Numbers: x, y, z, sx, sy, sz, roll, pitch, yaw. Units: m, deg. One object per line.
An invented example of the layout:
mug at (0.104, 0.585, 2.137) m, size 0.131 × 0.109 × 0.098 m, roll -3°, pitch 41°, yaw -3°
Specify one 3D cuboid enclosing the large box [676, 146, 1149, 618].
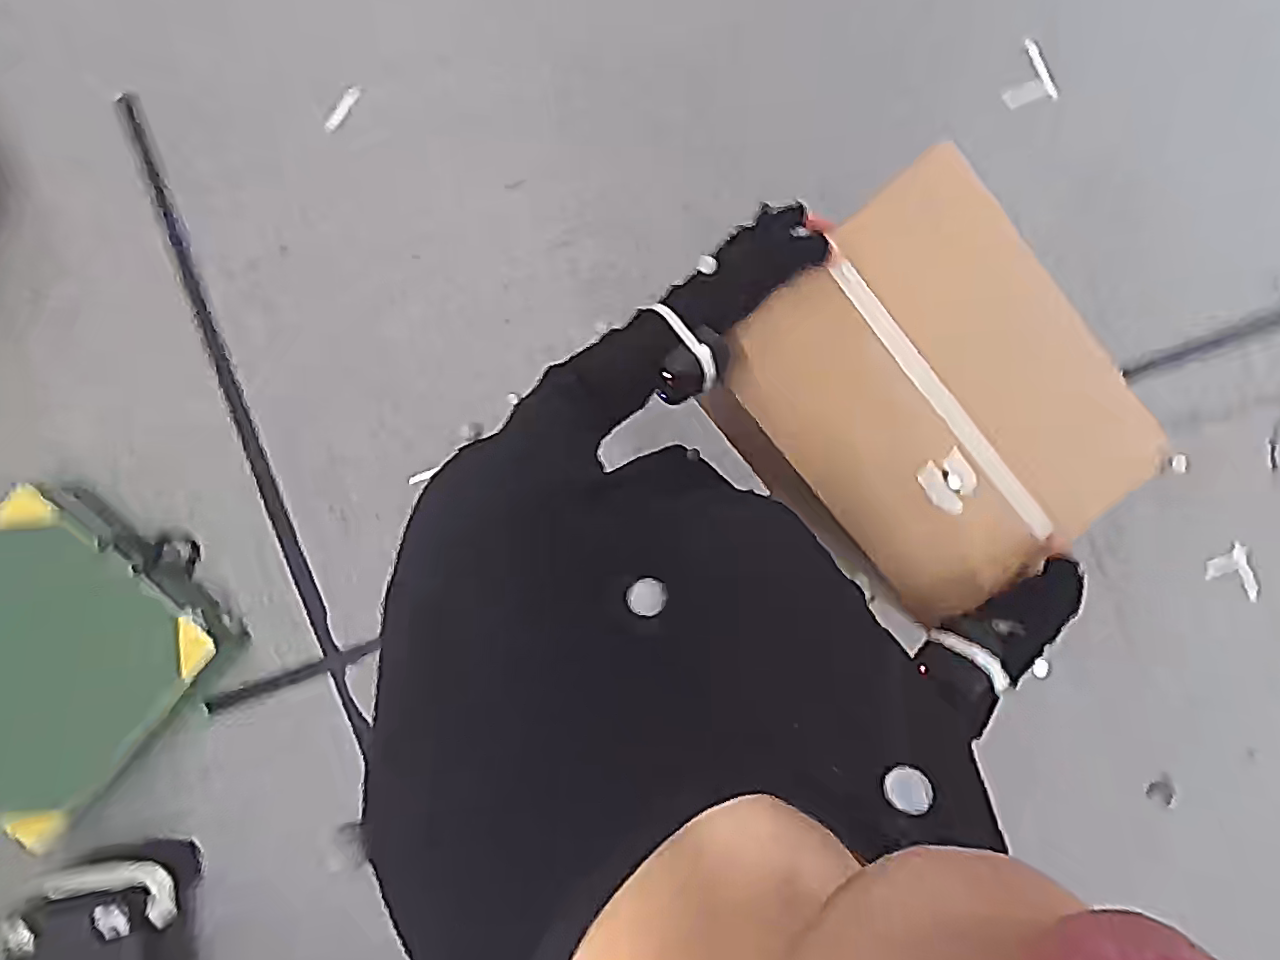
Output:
large box at (0.299, -0.110, 0.712) m, size 0.320 × 0.320 × 0.408 m, roll -40°, pitch 97°, yaw 5°
